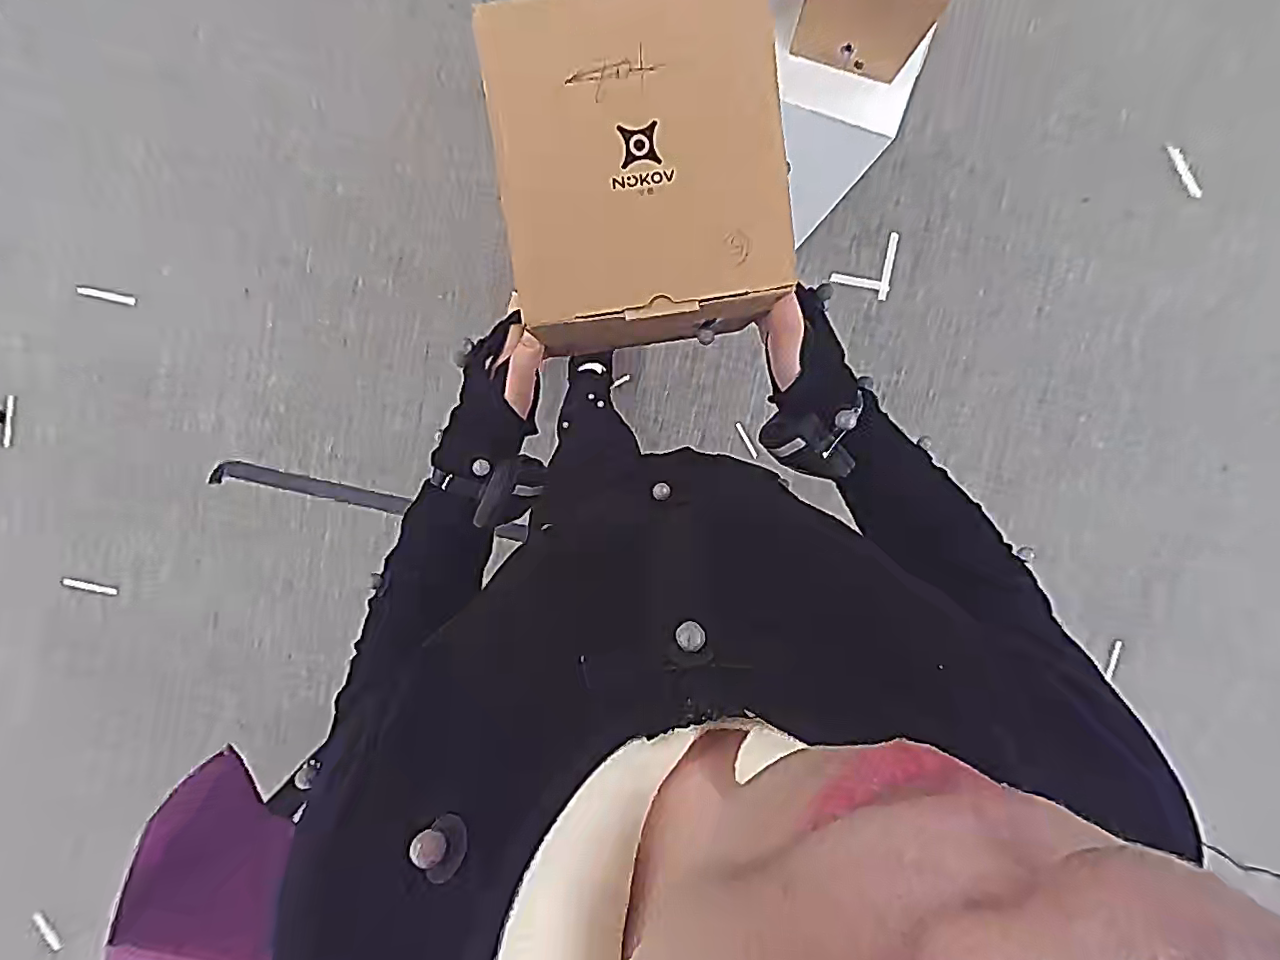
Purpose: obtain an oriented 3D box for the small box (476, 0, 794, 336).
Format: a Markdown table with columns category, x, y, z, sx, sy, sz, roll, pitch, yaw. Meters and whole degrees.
| category | x | y | z | sx | sy | sz | roll | pitch | yaw |
| --- | --- | --- | --- | --- | --- | --- | --- | --- | --- |
| small box | 0.000 | -0.203 | 0.385 | 0.168 | 0.176 | 0.179 | -8 | 98 | -1 |
